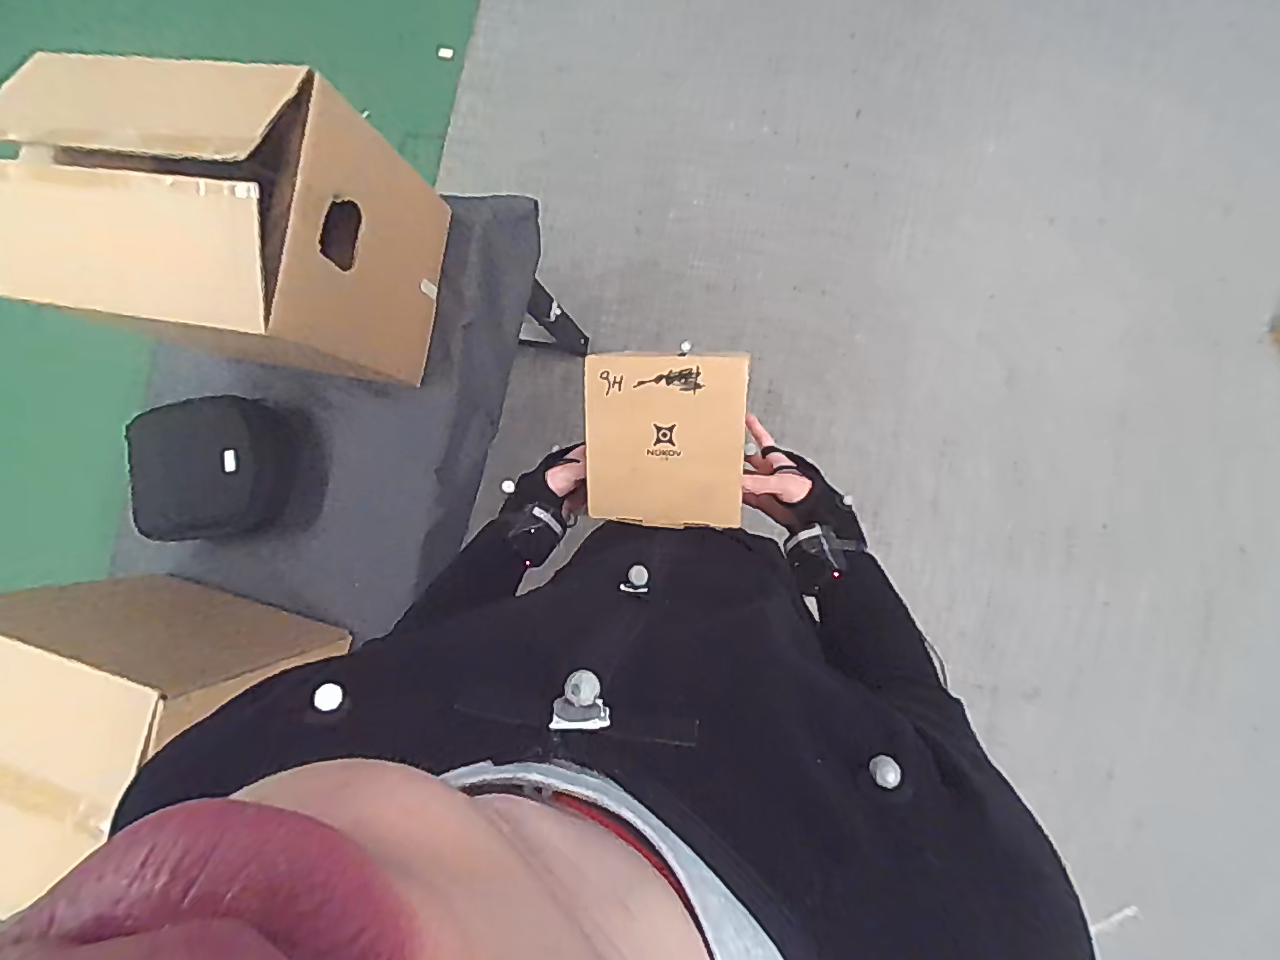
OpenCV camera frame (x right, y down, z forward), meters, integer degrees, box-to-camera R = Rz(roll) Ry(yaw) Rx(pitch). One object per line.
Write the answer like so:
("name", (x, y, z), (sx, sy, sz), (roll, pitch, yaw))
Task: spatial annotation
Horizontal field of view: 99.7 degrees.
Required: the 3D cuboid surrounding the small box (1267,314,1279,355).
("small box", (1.631, -0.352, 1.245), (0.179, 0.176, 0.168), (-25, 85, 6))
